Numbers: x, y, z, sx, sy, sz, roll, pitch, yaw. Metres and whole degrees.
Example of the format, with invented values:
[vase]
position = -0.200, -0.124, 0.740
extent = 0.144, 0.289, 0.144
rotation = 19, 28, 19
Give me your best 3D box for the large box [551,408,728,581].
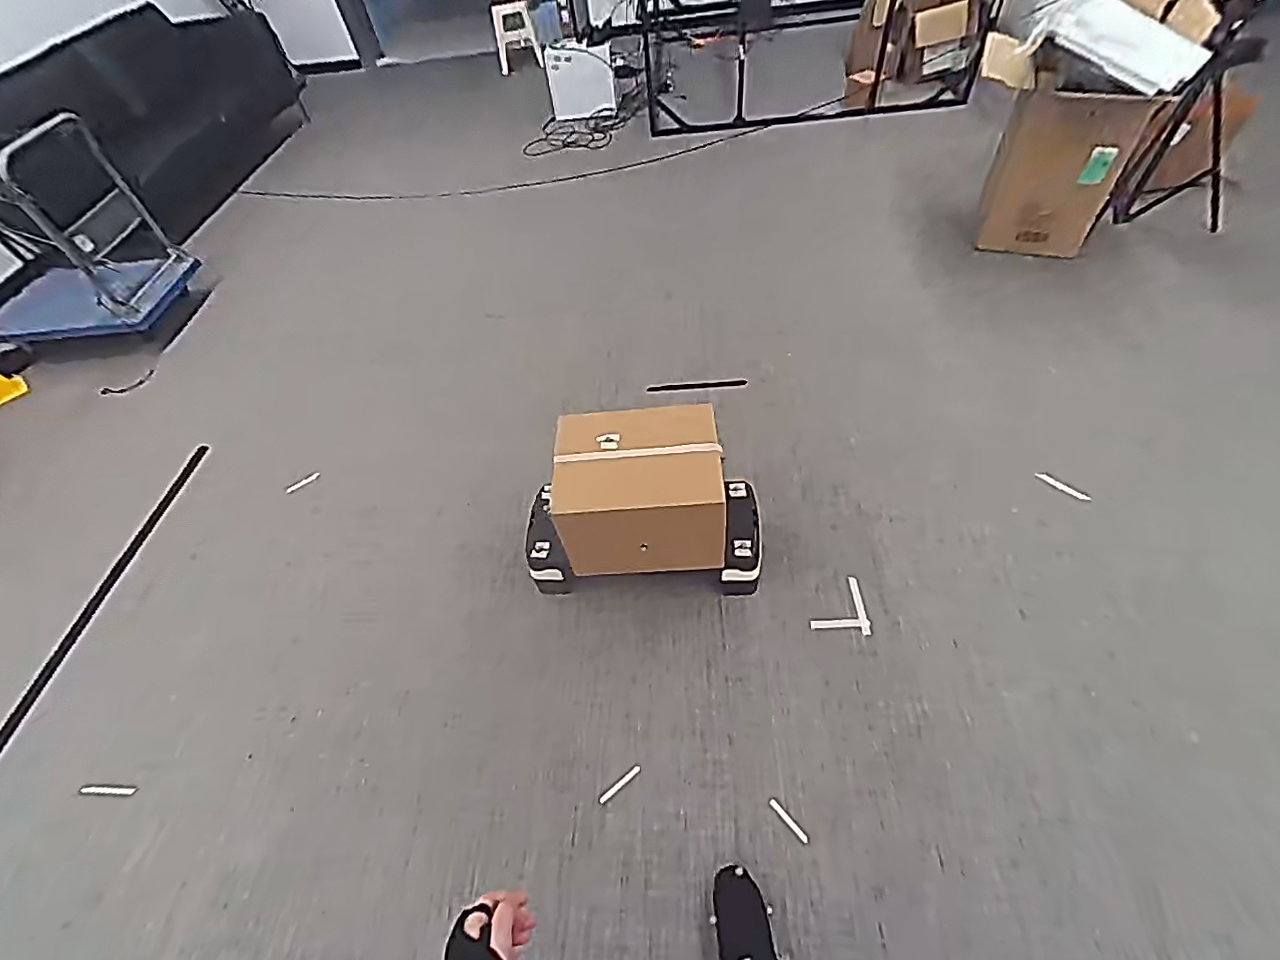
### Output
[large box]
position = 0.010, 0.047, 1.410
extent = 0.408, 0.320, 0.320
rotation = -5, 51, 5
